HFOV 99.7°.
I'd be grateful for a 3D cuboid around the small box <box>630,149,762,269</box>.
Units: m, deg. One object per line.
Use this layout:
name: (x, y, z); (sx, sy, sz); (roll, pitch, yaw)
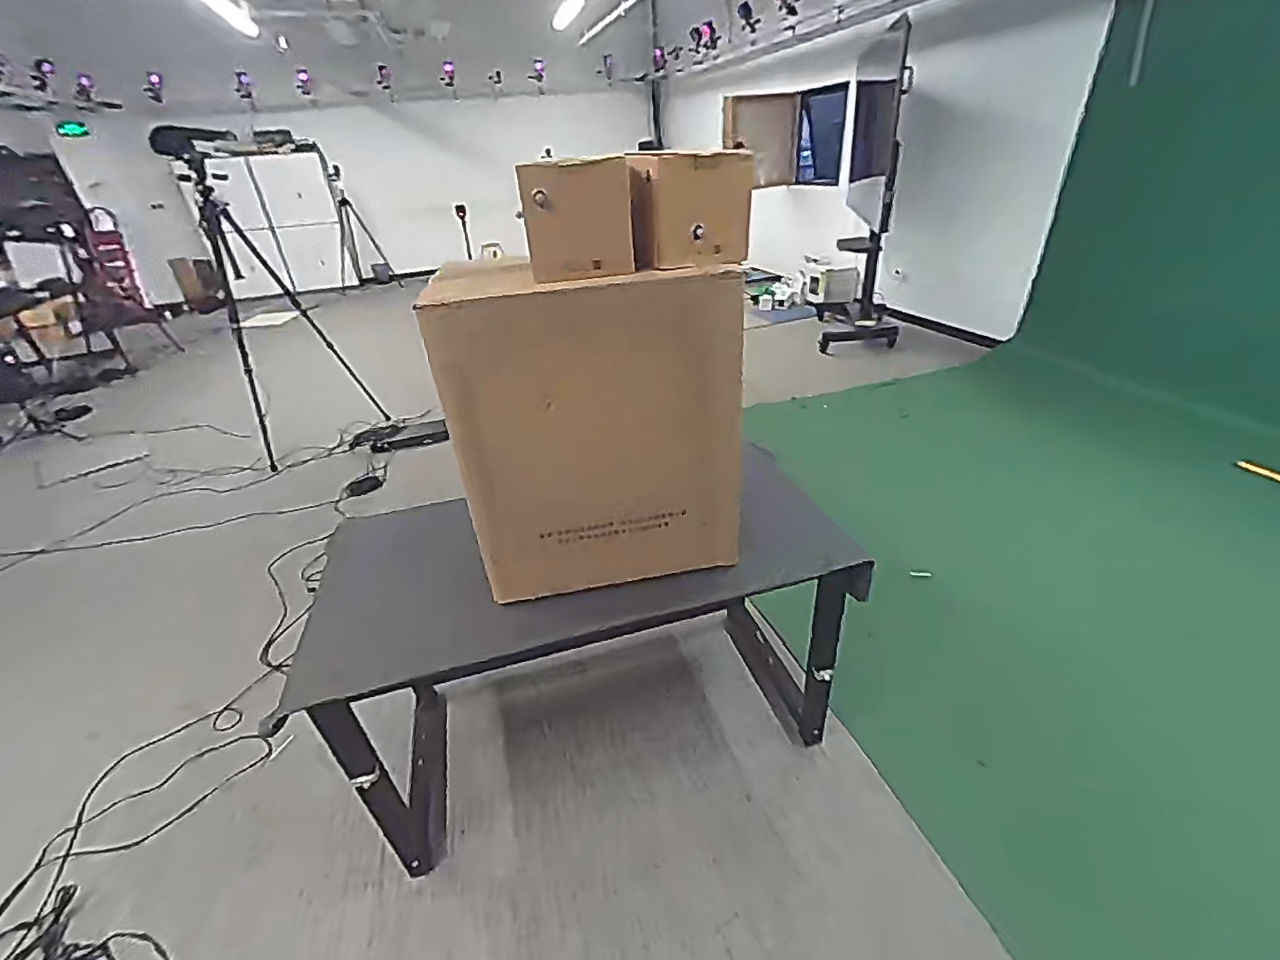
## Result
small box: (0.085, -0.464, 0.922); (0.168, 0.176, 0.179); (-11, 35, -17)
